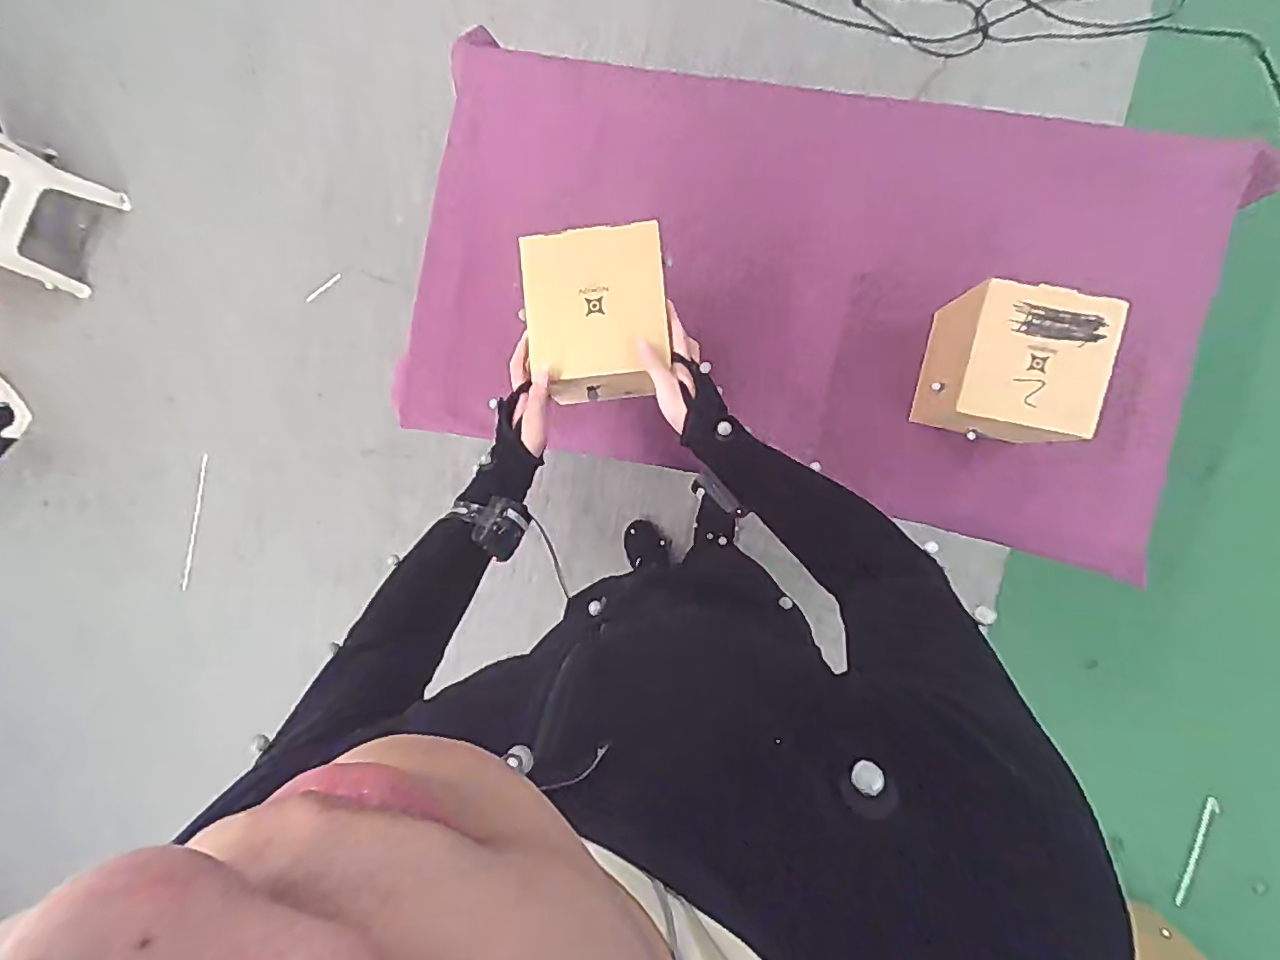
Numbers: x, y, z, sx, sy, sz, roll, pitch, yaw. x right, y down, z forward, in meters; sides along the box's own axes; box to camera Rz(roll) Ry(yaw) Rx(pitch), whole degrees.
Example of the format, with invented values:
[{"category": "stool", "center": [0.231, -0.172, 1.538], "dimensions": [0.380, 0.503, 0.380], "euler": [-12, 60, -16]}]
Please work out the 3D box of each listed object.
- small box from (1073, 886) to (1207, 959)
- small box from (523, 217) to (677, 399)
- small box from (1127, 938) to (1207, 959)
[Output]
[{"category": "small box", "center": [1.312, 1.231, 1.431], "dimensions": [0.179, 0.176, 0.168], "euler": [15, 93, 6]}, {"category": "small box", "center": [-0.042, -0.204, 0.695], "dimensions": [0.168, 0.176, 0.179], "euler": [-6, 88, 3]}, {"category": "small box", "center": [1.293, 1.238, 1.268], "dimensions": [0.179, 0.176, 0.168], "euler": [14, 93, 6]}]
